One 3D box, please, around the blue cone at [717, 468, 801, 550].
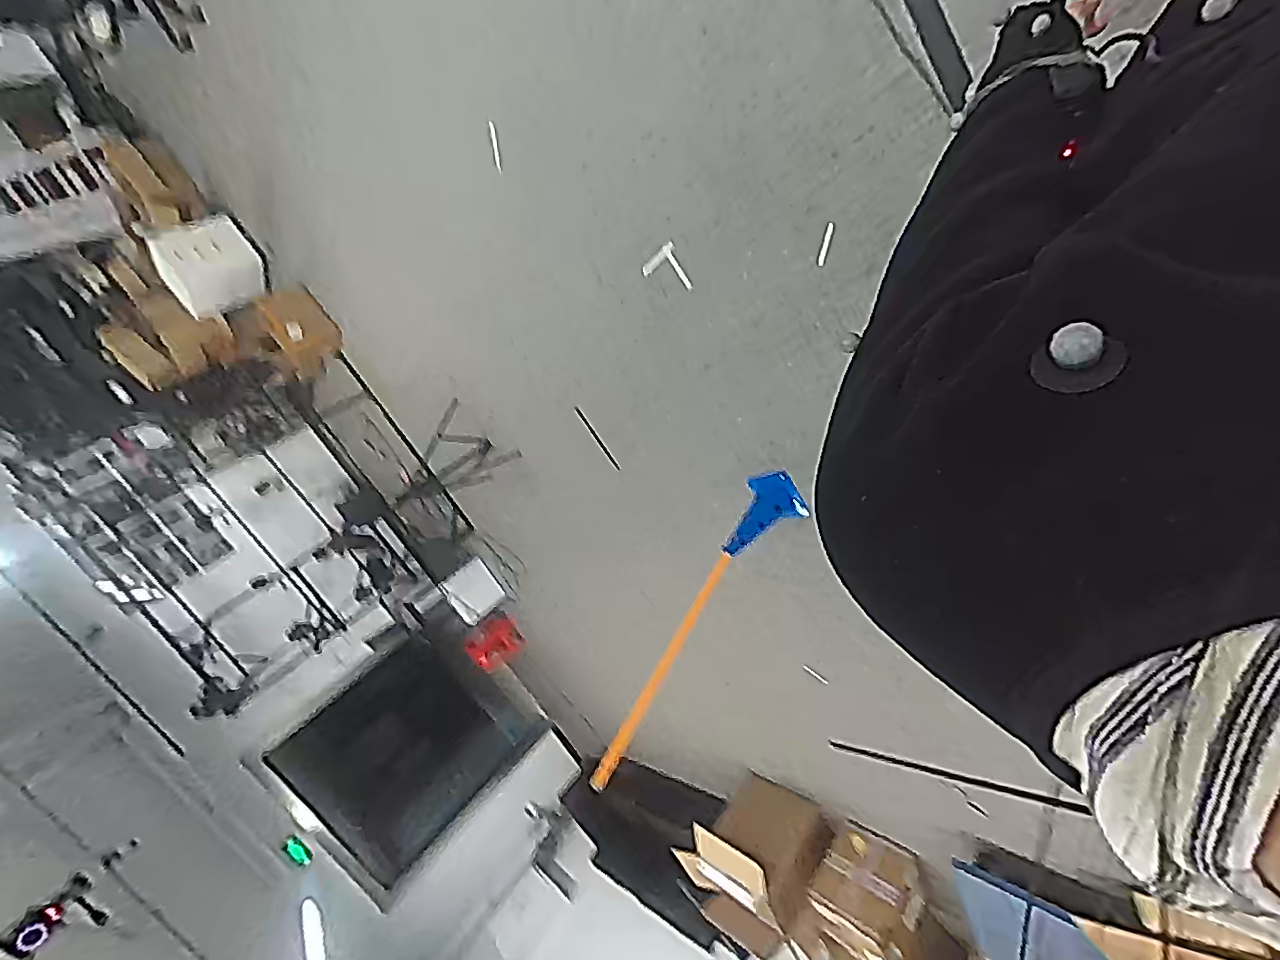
[{"bbox_3d":[0.401,0.133,1.955,0.193,0.380,0.192,-12,114,53],"label":"blue cone"}]
